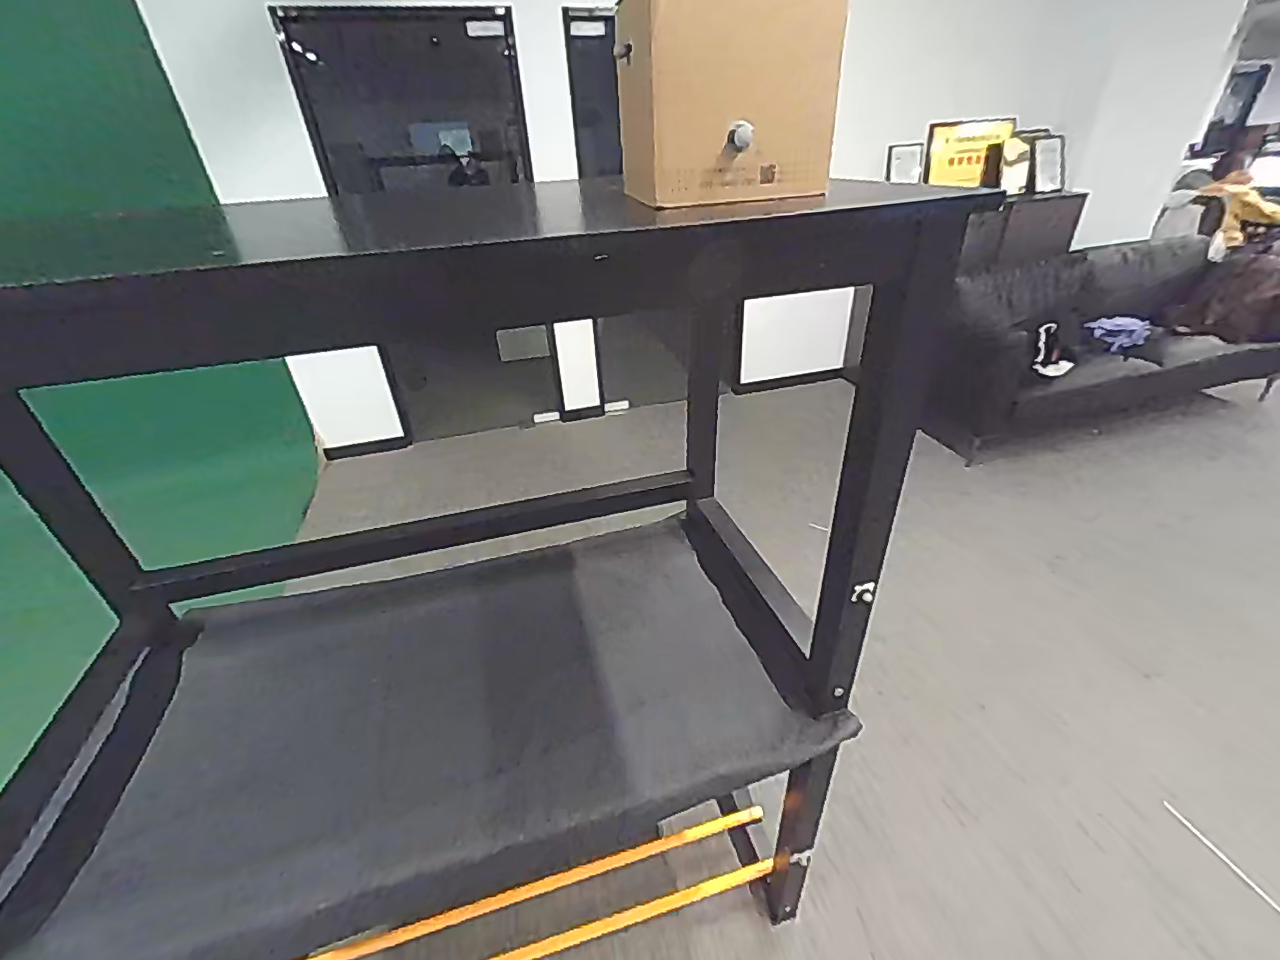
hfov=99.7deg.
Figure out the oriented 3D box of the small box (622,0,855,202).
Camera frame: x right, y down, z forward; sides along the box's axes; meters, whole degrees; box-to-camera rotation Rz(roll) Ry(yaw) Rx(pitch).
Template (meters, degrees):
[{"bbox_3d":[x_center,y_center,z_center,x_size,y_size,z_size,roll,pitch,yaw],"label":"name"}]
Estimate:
[{"bbox_3d":[0.078,-0.368,0.516,0.168,0.176,0.179,-8,33,-7],"label":"small box"}]
